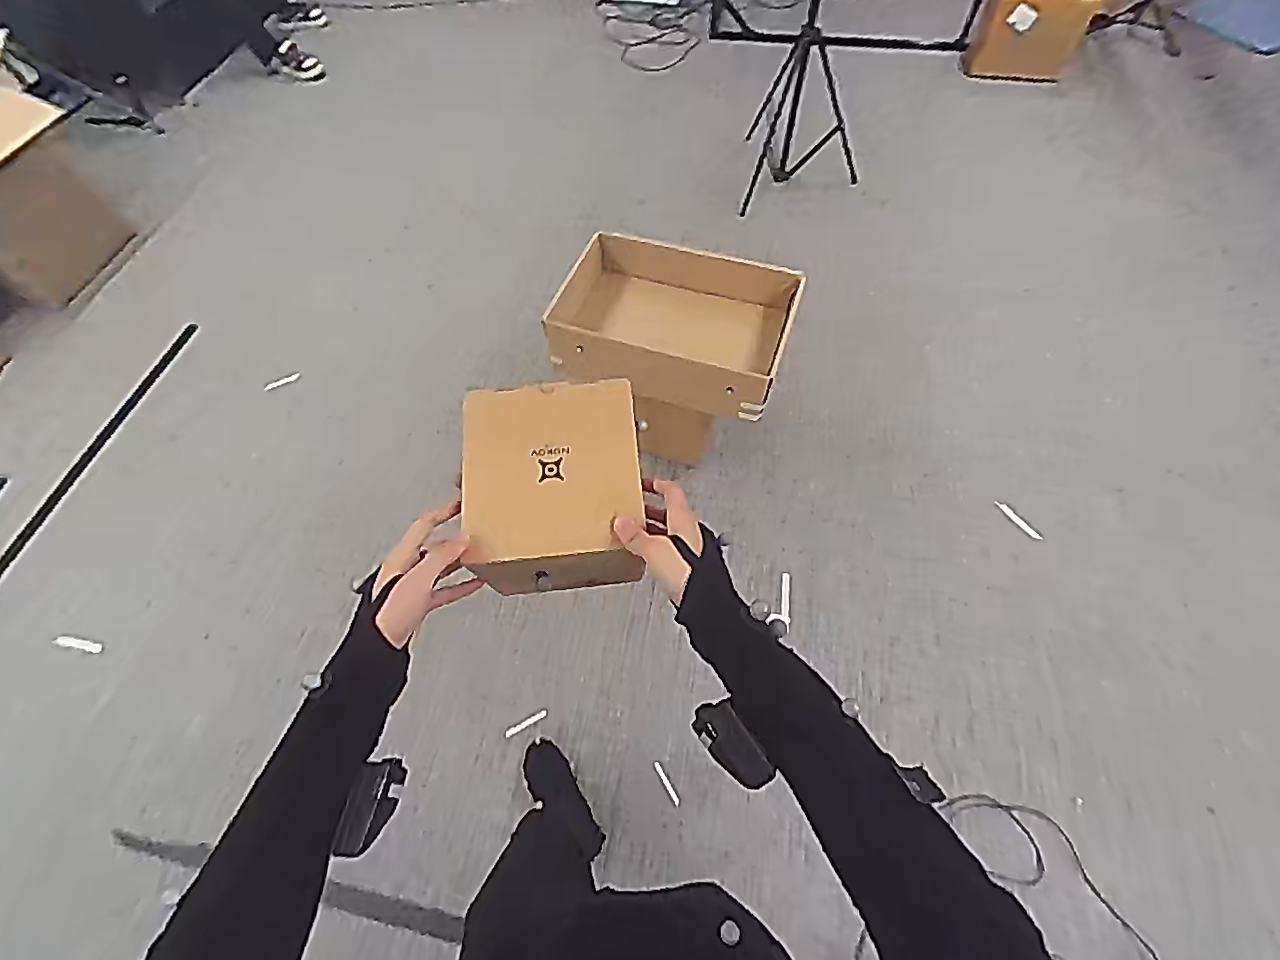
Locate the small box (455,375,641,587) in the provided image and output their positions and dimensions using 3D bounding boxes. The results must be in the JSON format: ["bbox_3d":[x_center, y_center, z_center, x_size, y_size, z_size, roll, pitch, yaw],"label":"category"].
[{"bbox_3d":[-0.087,0.012,0.573,0.168,0.176,0.179,-5,68,-3],"label":"small box"}]
